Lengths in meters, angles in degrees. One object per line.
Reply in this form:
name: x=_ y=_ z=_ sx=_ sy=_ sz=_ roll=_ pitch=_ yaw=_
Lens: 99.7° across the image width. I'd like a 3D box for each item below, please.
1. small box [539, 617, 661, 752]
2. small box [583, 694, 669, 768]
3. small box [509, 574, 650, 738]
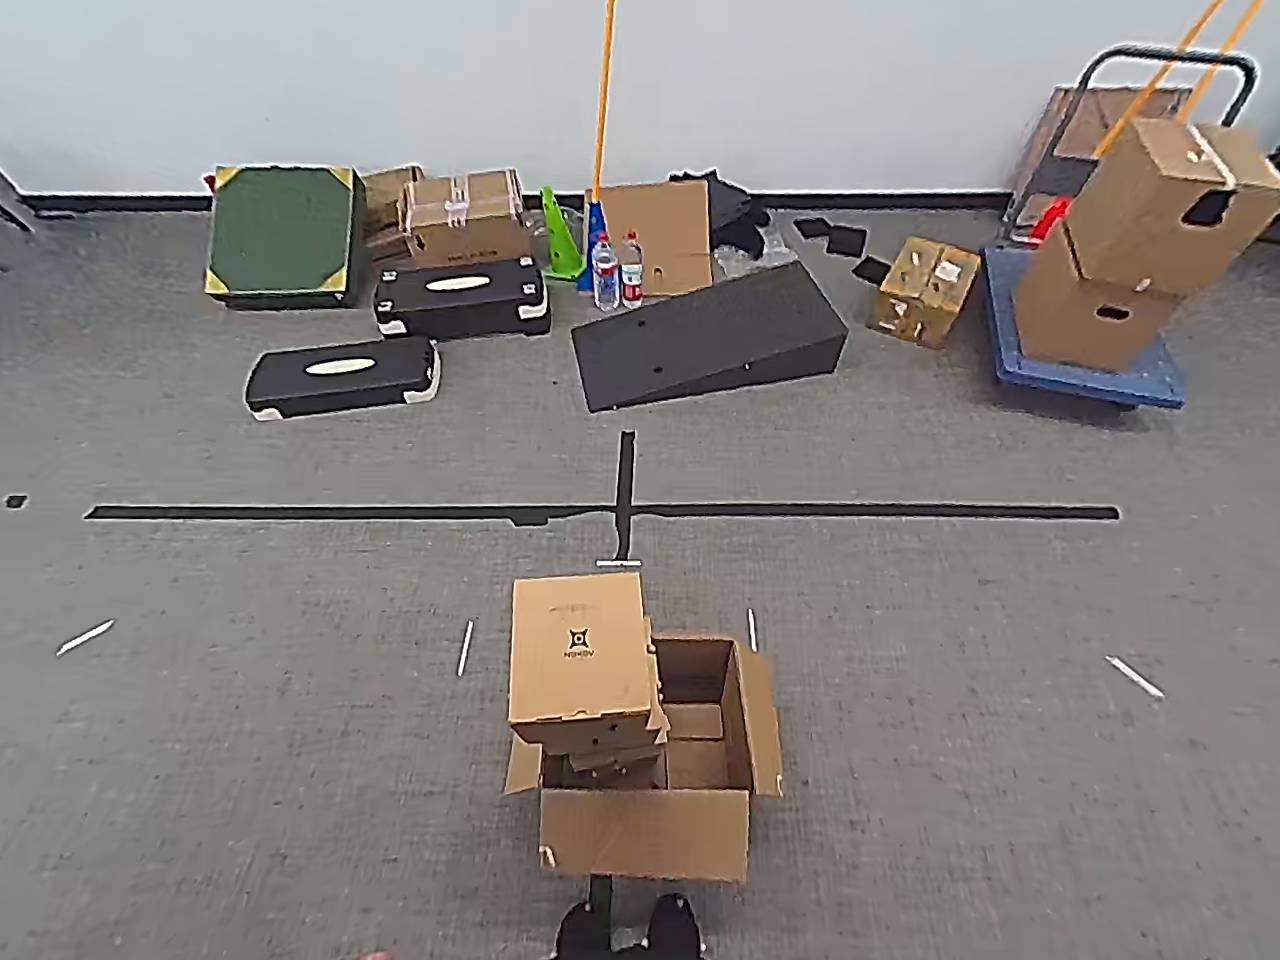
small box: x=-0.066 y=0.330 z=0.863 sx=0.179 sy=0.176 sz=0.168 roll=-3 pitch=58 yaw=-5
small box: x=-0.051 y=0.492 z=1.151 sx=0.179 sy=0.176 sz=0.168 roll=-15 pitch=58 yaw=-14
small box: x=-0.077 y=0.242 z=0.726 sx=0.168 sy=0.176 sz=0.179 roll=-2 pitch=57 yaw=-5
